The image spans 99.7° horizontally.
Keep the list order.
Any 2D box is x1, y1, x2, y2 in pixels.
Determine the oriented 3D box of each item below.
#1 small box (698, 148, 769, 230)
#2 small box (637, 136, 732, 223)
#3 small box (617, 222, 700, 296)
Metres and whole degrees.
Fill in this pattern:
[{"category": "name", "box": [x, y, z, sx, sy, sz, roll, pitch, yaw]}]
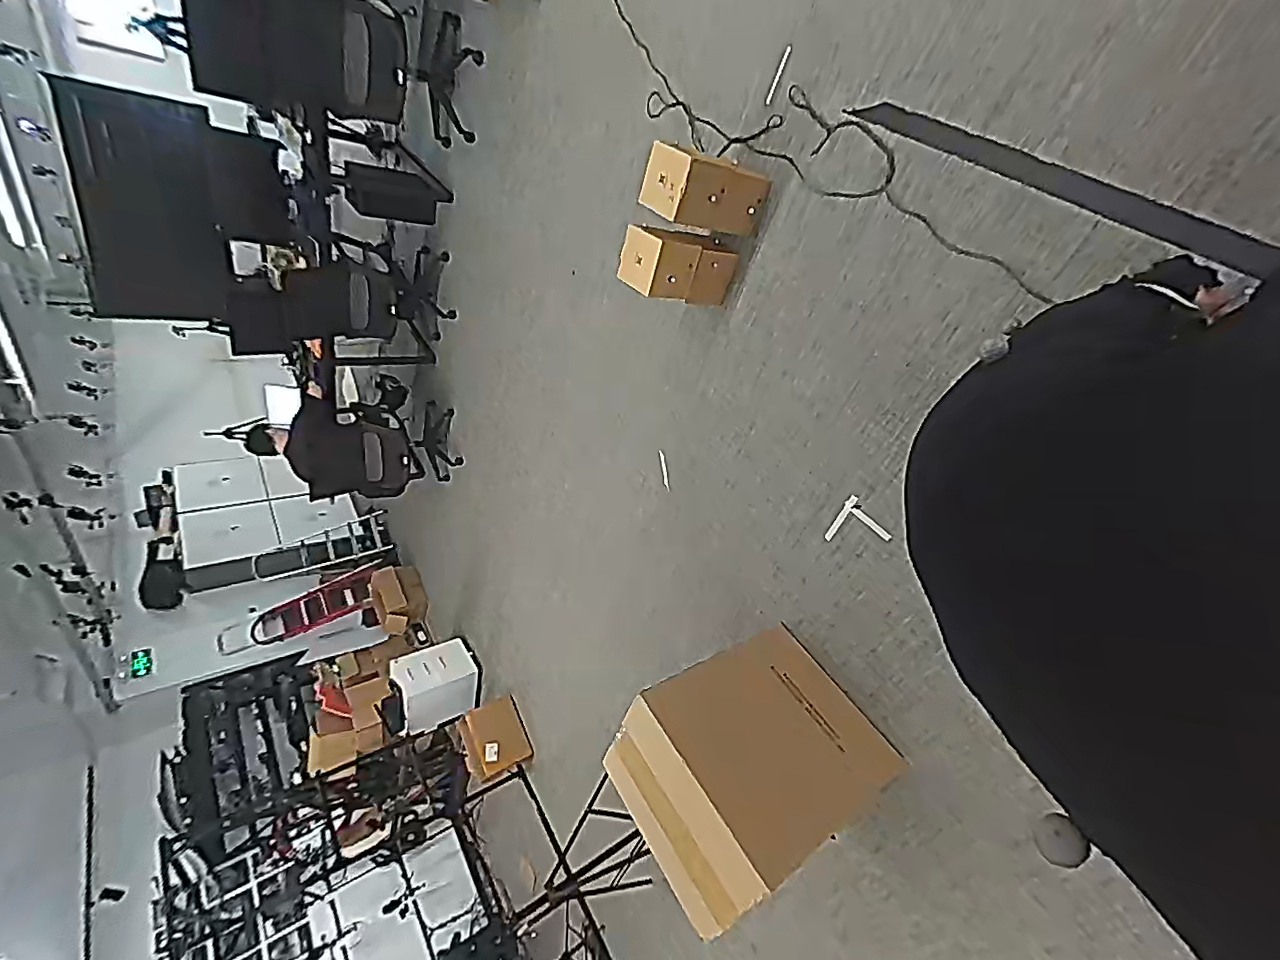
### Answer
[{"category": "small box", "box": [0.253, -0.872, 1.634, 0.179, 0.176, 0.168, 49, 134, 32]}, {"category": "small box", "box": [0.126, -0.845, 1.533, 0.179, 0.176, 0.168, 47, 134, 33]}, {"category": "small box", "box": [0.058, -0.682, 1.671, 0.179, 0.176, 0.168, 46, 132, 36]}]
